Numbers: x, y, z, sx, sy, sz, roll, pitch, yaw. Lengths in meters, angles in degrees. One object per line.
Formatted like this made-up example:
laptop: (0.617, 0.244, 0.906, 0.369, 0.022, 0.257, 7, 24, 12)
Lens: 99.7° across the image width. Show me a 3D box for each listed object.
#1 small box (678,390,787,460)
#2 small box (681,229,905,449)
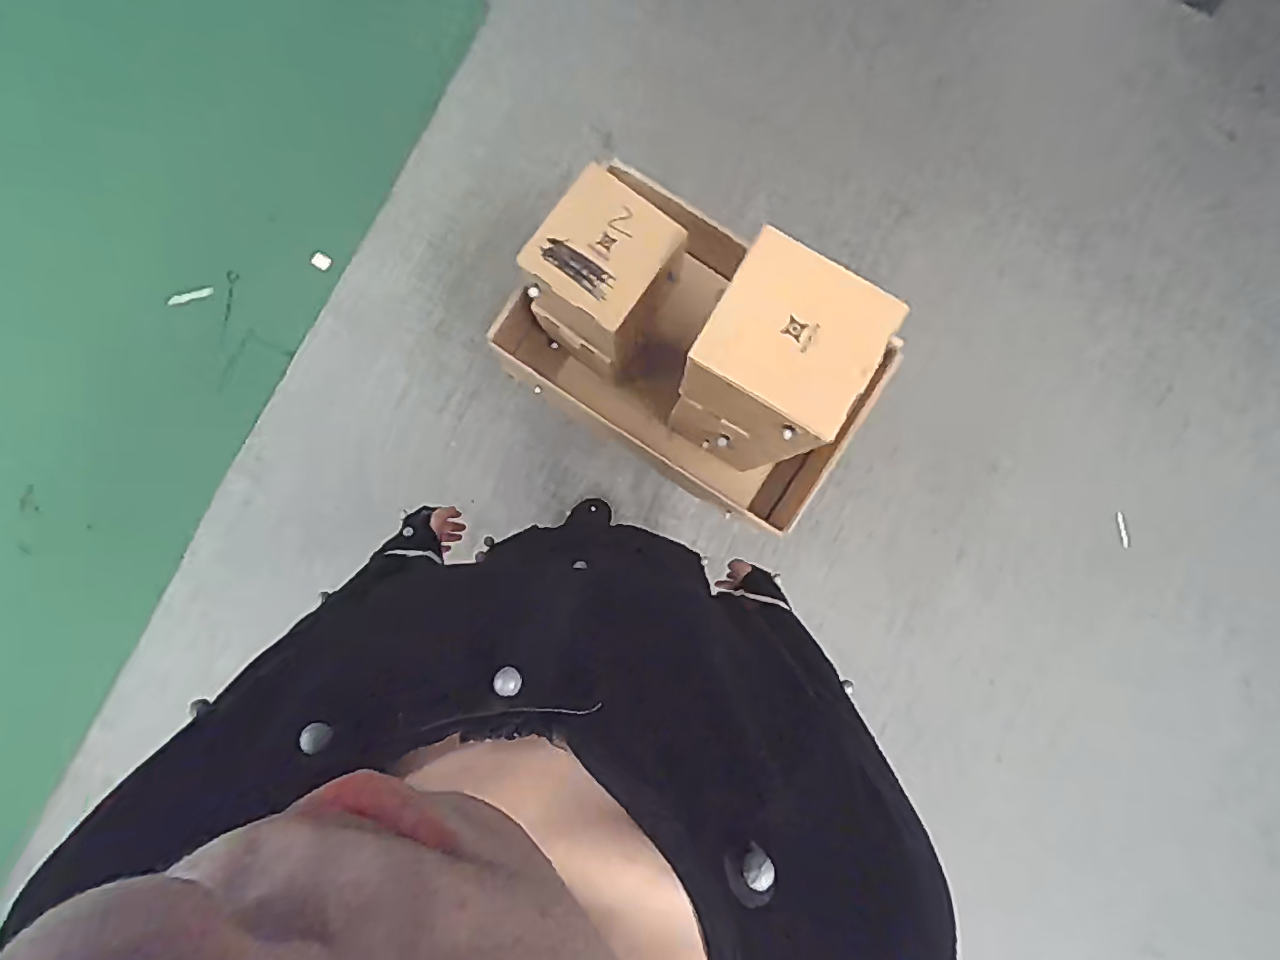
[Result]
small box: (0.167, -0.142, 0.807, 0.168, 0.176, 0.179, 31, 89, 1)
small box: (0.163, -0.150, 0.644, 0.179, 0.176, 0.168, 31, 87, 0)
